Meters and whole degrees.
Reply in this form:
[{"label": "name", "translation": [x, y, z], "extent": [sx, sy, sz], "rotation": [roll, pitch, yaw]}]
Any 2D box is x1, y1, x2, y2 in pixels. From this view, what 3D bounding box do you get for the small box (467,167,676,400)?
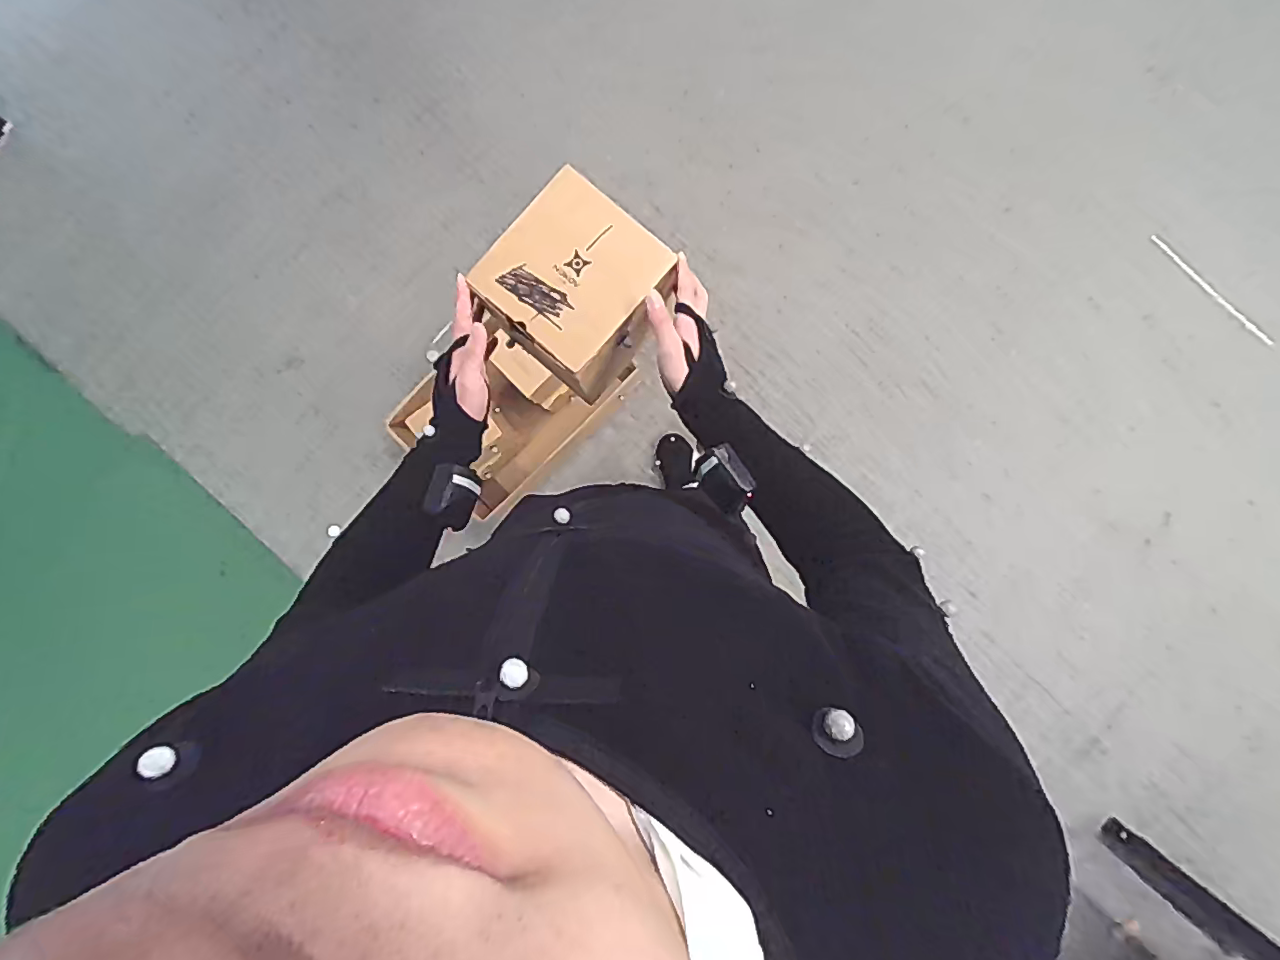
[{"label": "small box", "translation": [-0.073, -0.223, 0.666], "extent": [0.168, 0.176, 0.179], "rotation": [41, 87, 2]}]
